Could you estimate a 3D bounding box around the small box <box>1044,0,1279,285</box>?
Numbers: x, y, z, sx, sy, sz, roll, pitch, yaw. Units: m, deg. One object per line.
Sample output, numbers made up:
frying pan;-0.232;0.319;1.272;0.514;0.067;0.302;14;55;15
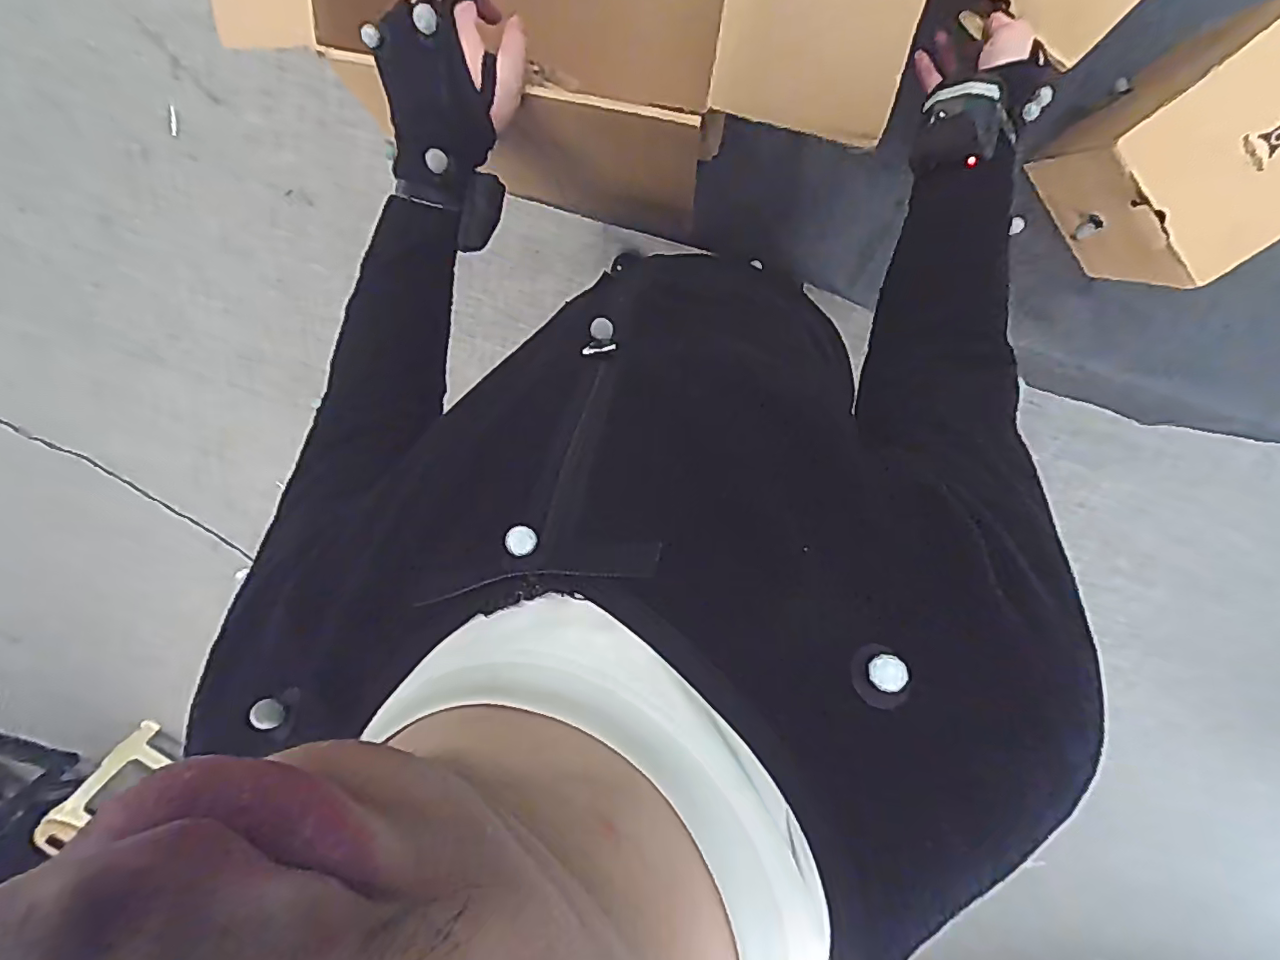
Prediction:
small box;0.551;-0.324;0.539;0.179;0.176;0.168;-36;105;23
